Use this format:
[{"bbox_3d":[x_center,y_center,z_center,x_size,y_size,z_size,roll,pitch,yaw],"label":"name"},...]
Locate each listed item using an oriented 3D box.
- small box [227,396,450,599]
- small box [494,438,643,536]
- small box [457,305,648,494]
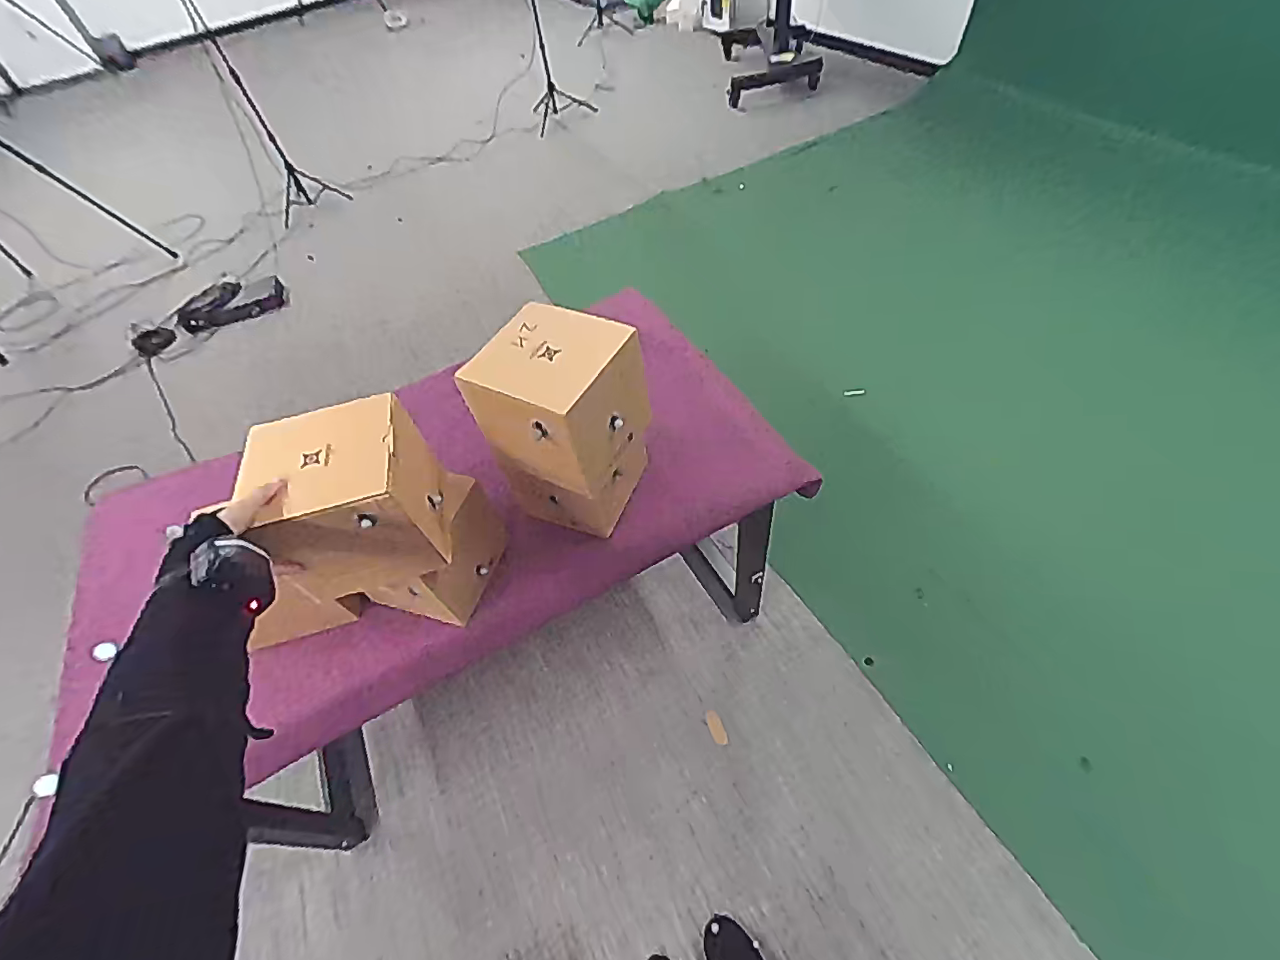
[{"bbox_3d":[-0.356,0.028,0.676,0.179,0.176,0.168,-15,52,-5],"label":"small box"},{"bbox_3d":[-0.103,-0.032,0.891,0.168,0.176,0.179,15,57,19],"label":"small box"},{"bbox_3d":[-0.104,-0.105,0.738,0.179,0.176,0.168,21,58,24],"label":"small box"}]
